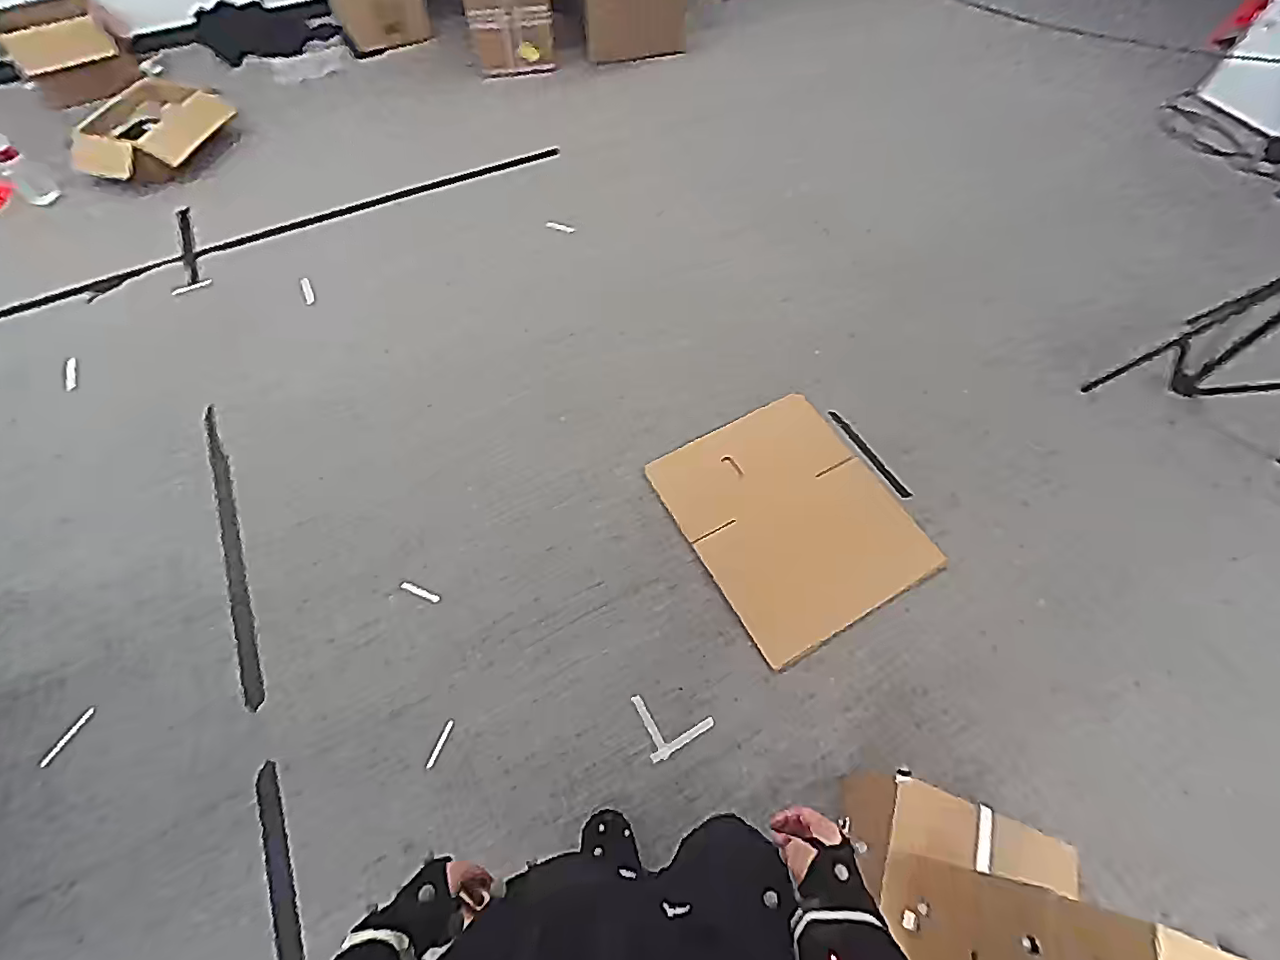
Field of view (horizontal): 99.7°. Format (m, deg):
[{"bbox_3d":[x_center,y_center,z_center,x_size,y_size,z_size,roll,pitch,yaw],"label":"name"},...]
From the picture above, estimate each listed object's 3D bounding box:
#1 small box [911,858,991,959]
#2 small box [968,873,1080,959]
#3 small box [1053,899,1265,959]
[{"bbox_3d":[0.542,0.701,0.815,0.179,0.176,0.168,18,62,11],"label":"small box"},{"bbox_3d":[0.544,0.622,0.671,0.179,0.176,0.168,19,62,10],"label":"small box"},{"bbox_3d":[0.539,0.544,0.528,0.179,0.176,0.168,19,62,10],"label":"small box"}]
